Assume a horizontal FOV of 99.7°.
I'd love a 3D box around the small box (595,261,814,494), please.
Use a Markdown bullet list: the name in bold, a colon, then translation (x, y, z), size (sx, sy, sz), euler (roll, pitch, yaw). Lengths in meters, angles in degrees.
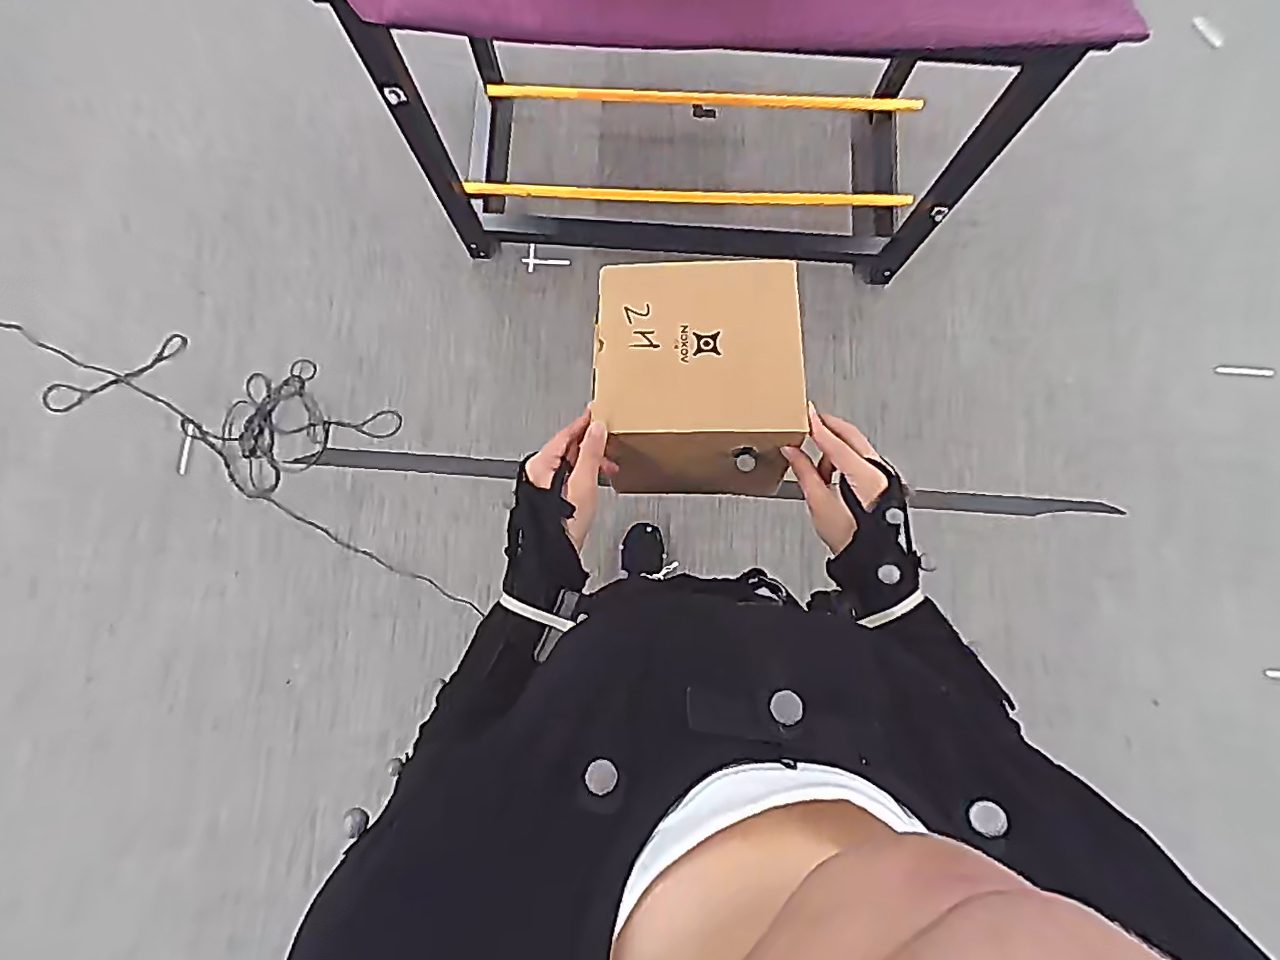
- **small box**: translation (0.059, -0.089, 0.528), size (0.179, 0.176, 0.168), euler (0, 71, 5)
